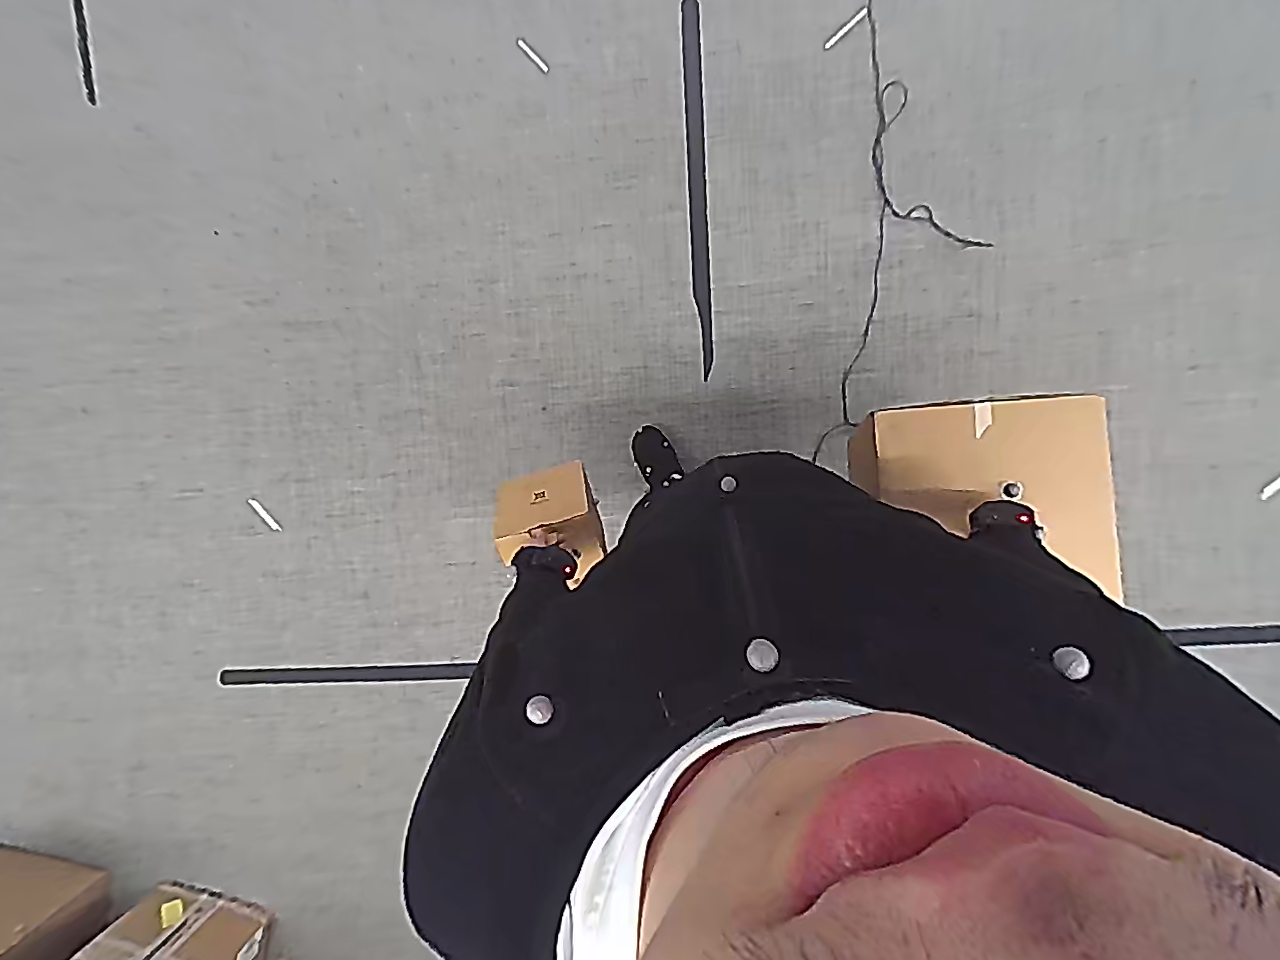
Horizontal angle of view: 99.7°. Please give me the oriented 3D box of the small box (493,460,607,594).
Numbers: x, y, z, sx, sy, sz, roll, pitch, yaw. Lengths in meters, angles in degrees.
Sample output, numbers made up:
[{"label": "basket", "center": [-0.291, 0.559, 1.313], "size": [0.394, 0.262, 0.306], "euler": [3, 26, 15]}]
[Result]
[{"label": "small box", "center": [-0.165, 0.093, 1.013], "size": [0.168, 0.179, 0.176], "euler": [-15, 124, -2]}]
